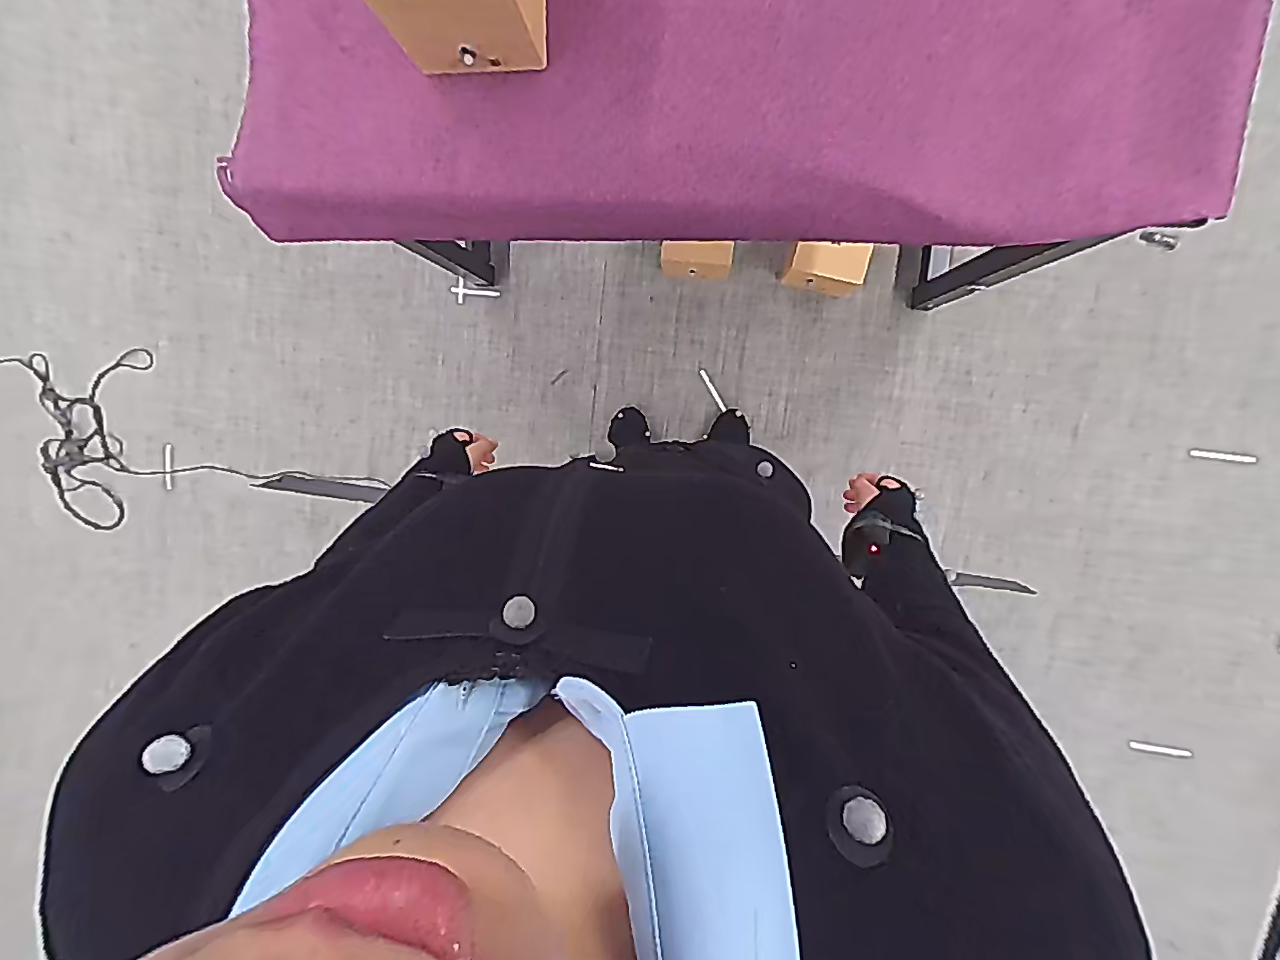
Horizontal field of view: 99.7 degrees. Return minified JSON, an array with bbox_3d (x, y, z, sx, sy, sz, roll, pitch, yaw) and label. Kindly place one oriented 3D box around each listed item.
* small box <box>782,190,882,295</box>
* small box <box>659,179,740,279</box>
[{"bbox_3d":[0.448,-0.557,1.294,0.168,0.176,0.179,15,99,3],"label":"small box"},{"bbox_3d":[0.143,-0.599,1.313,0.168,0.176,0.179,8,98,3],"label":"small box"}]
